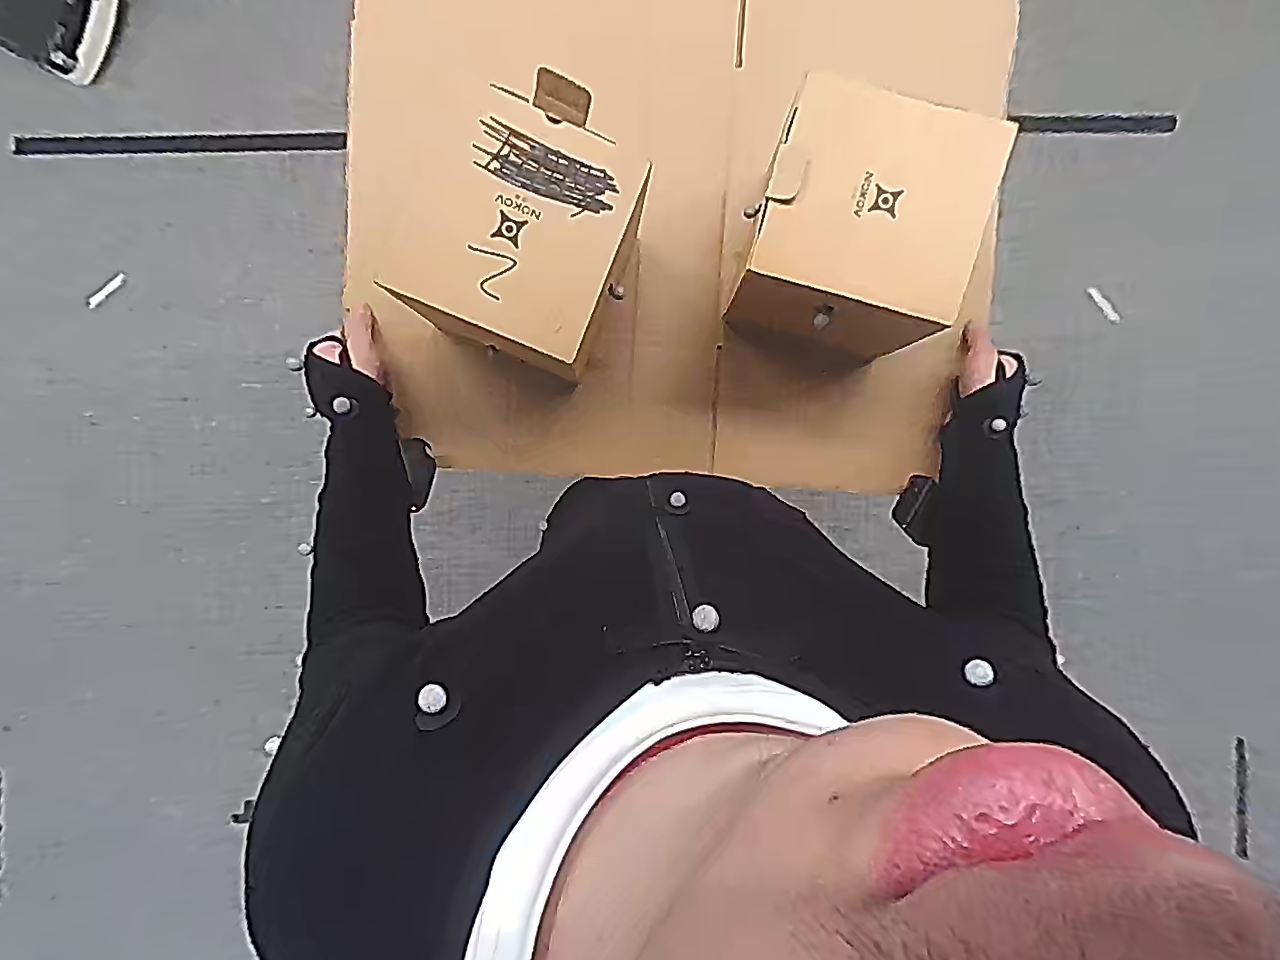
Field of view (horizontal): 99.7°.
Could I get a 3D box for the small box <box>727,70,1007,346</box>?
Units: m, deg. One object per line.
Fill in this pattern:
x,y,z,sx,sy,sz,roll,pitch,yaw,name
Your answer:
0.197,-0.239,0.524,0.179,0.176,0.168,16,94,2,small box
